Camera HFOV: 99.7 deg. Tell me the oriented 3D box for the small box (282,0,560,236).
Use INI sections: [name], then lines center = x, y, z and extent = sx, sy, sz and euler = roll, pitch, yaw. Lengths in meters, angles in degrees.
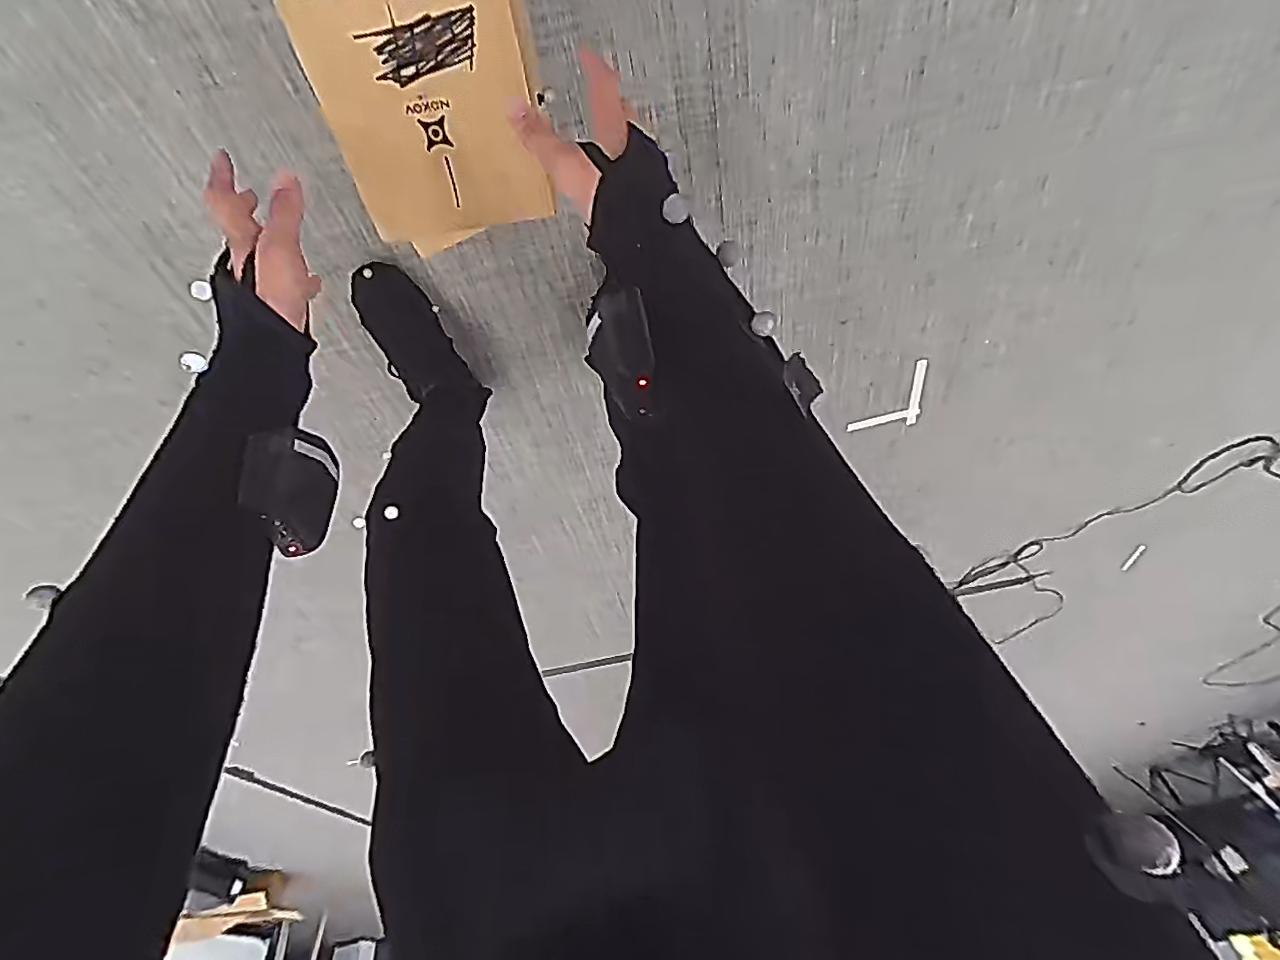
[small box]
center = -0.172, -0.350, 0.488
extent = 0.168, 0.176, 0.179
euler = -9, 136, 1
